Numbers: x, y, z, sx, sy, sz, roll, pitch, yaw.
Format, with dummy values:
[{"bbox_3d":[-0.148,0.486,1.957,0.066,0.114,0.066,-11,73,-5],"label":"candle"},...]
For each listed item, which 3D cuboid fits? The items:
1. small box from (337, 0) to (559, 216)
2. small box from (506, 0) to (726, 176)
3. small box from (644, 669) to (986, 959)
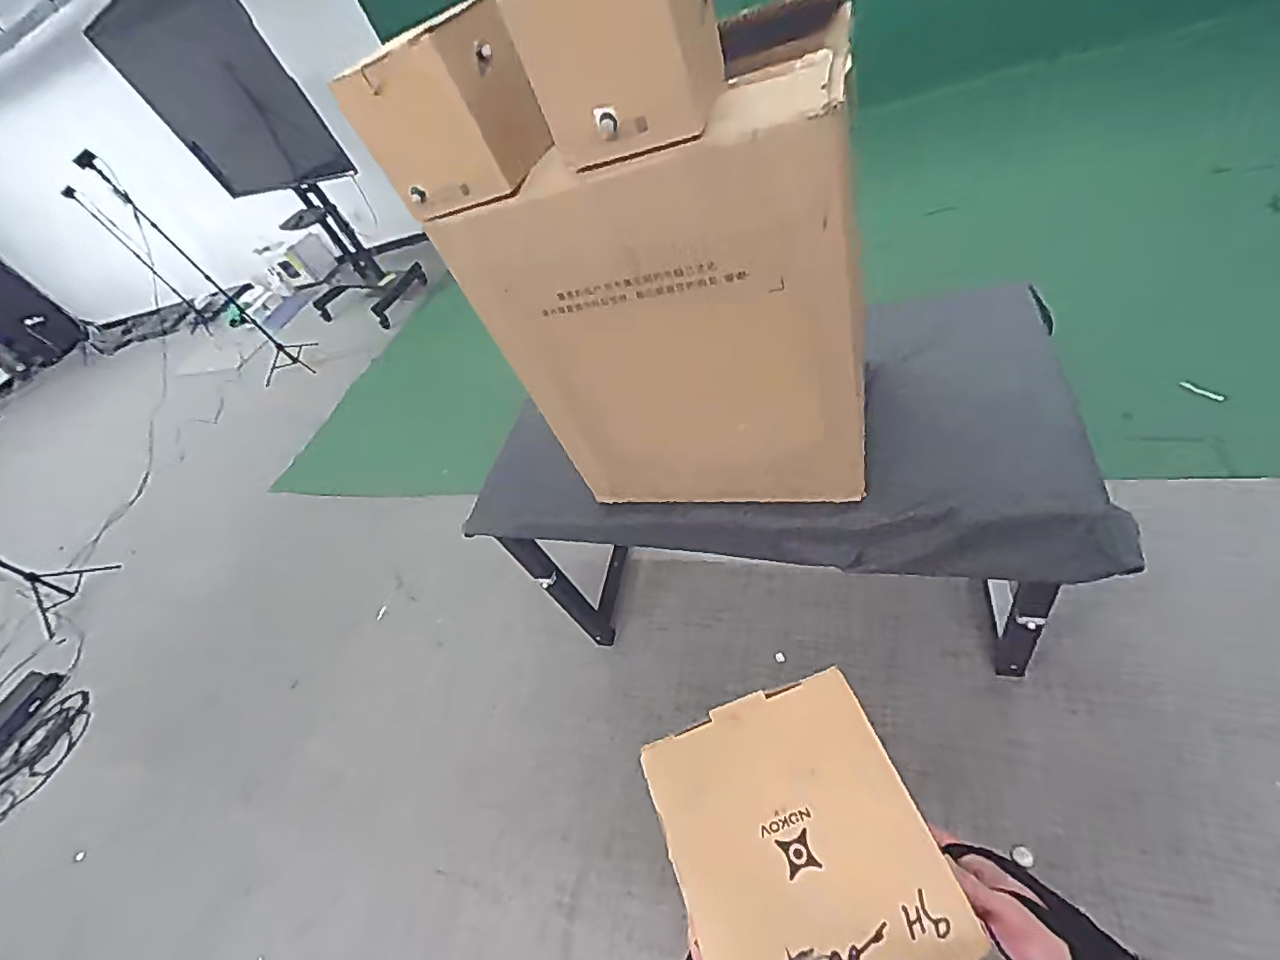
[{"bbox_3d":[-0.228,-0.461,0.692,0.168,0.176,0.179,-1,51,27],"label":"small box"},{"bbox_3d":[-0.010,-0.469,0.592,0.168,0.176,0.179,-2,52,25],"label":"small box"},{"bbox_3d":[0.120,0.279,0.429,0.168,0.176,0.179,-23,57,1],"label":"small box"}]
